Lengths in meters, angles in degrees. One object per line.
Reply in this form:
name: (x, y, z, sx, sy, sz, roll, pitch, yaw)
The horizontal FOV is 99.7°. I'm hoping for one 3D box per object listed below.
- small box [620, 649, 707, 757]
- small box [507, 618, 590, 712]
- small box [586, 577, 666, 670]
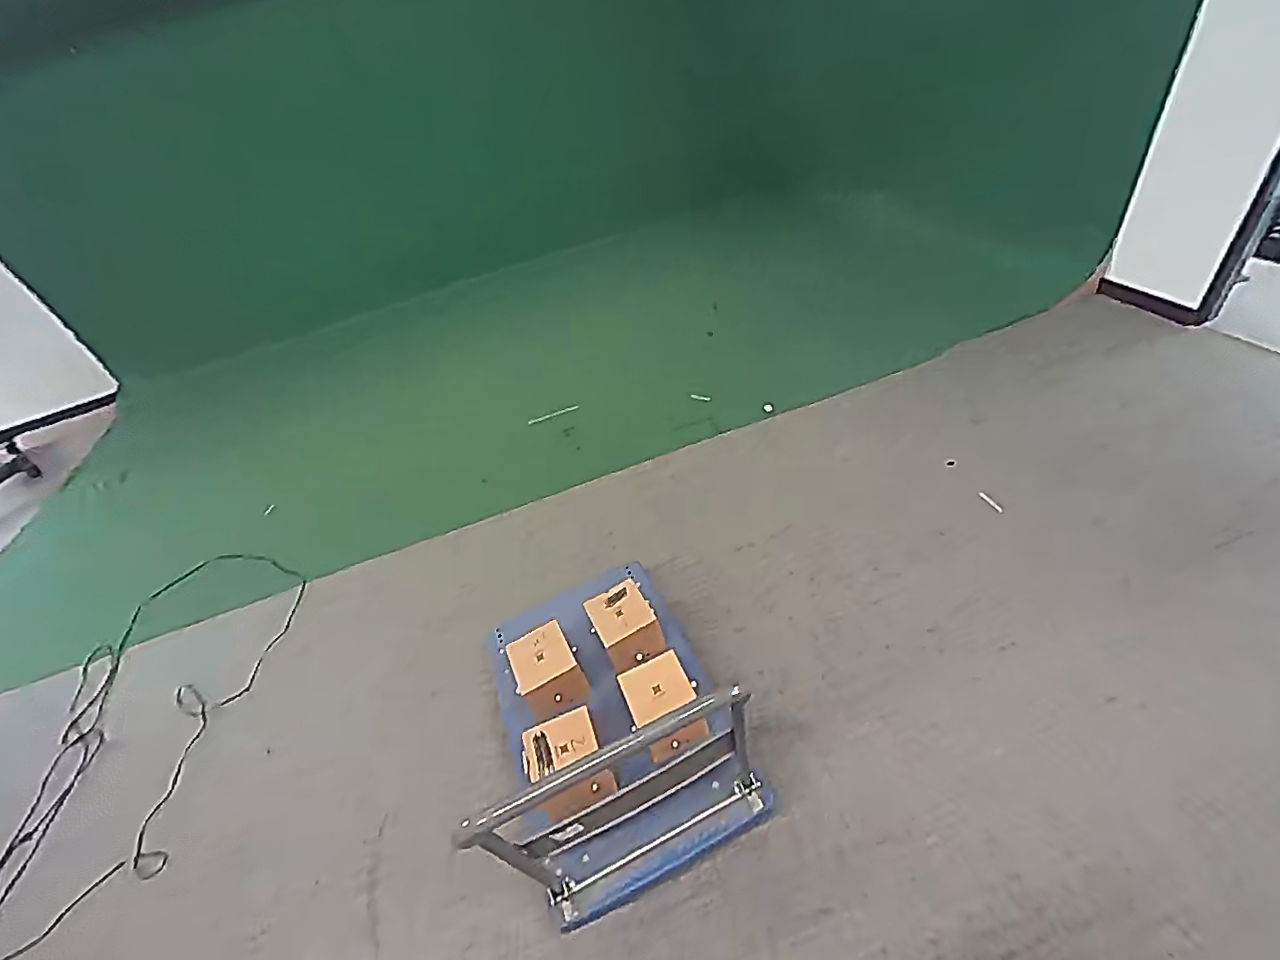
small box: (0.063, 0.587, 1.423, 0.168, 0.176, 0.179, -23, 43, -8)
small box: (-0.261, 0.542, 1.566, 0.168, 0.176, 0.179, -26, 43, -12)
small box: (-0.041, 0.431, 1.618, 0.168, 0.176, 0.179, -27, 45, -11)
